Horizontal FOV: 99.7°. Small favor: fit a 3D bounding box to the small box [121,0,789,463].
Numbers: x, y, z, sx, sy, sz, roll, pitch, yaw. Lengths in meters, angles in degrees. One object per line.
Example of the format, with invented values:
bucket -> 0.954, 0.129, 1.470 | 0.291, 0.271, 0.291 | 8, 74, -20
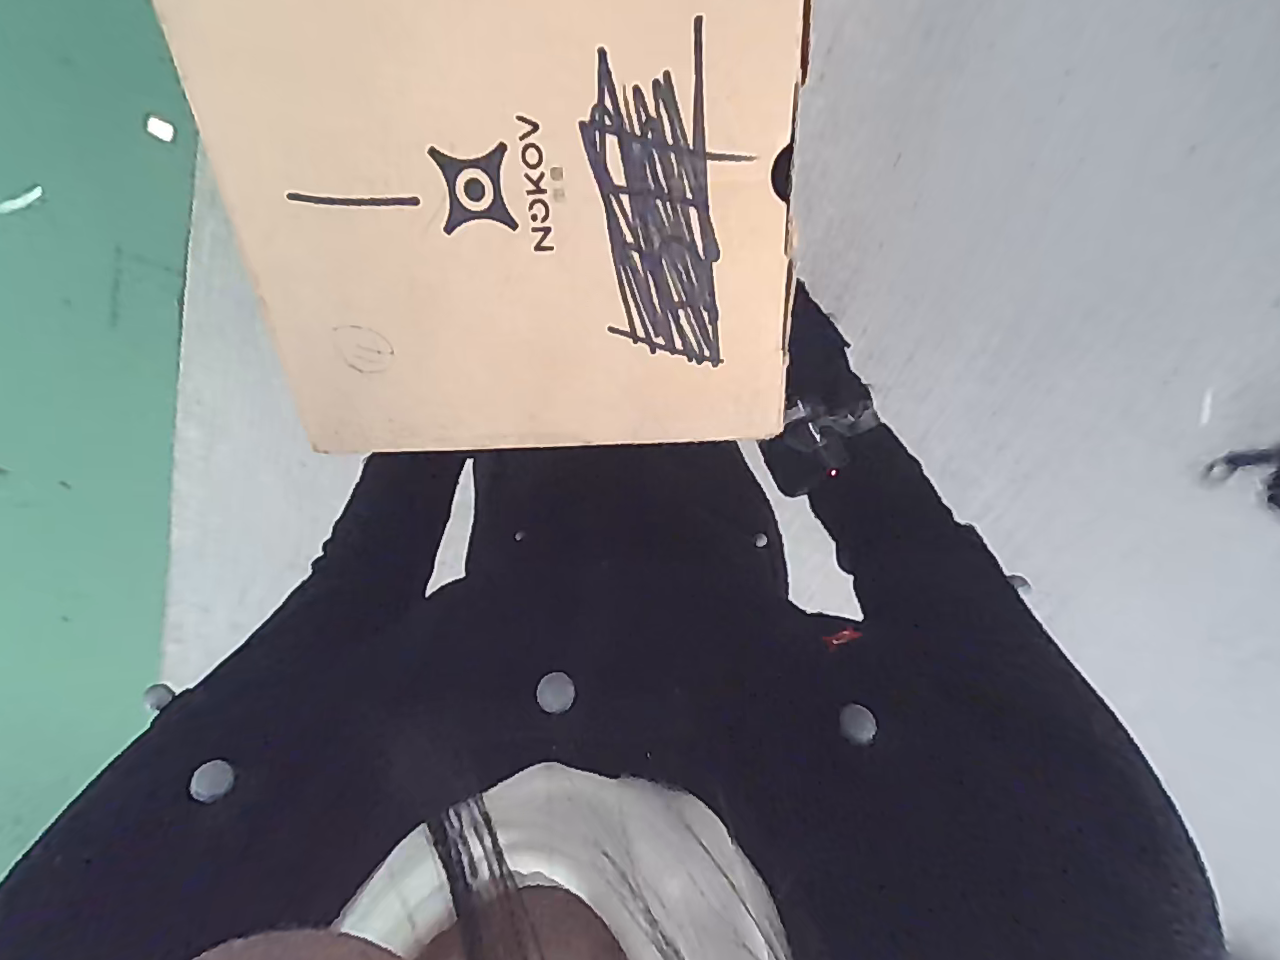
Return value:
small box -> -0.042, -0.118, 0.231 | 0.179, 0.176, 0.168 | -2, 117, 5
